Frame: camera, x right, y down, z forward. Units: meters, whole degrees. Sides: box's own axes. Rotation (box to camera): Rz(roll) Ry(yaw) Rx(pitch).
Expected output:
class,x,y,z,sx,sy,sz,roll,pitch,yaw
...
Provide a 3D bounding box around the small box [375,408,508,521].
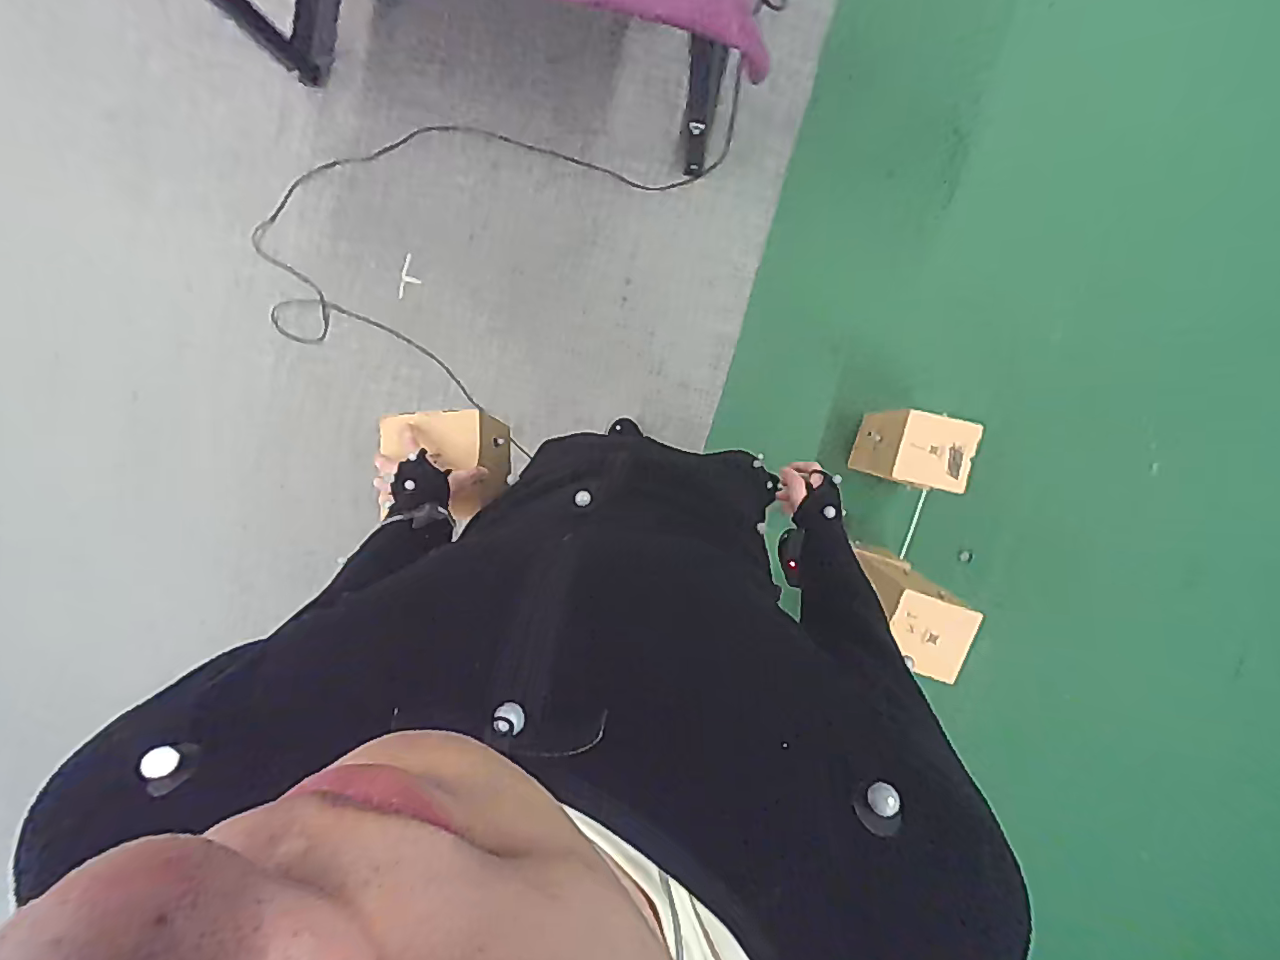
class,x,y,z,sx,sy,sz,roll,pitch,yaw
small box,-0.333,-0.019,0.932,0.168,0.176,0.179,-3,87,4

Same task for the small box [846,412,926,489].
class,x,y,z,sx,sy,sz,roll,pitch,yaw
small box,0.698,-0.083,1.498,0.179,0.176,0.168,17,97,0

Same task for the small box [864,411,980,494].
class,x,y,z,sx,sy,sz,roll,pitch,yaw
small box,0.686,-0.073,1.335,0.179,0.176,0.168,14,97,1

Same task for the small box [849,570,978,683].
class,x,y,z,sx,sy,sz,roll,pitch,yaw
small box,0.605,0.320,1.219,0.179,0.176,0.168,20,98,1

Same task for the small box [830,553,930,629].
class,x,y,z,sx,sy,sz,roll,pitch,yaw
small box,0.617,0.302,1.383,0.179,0.176,0.168,19,98,0
